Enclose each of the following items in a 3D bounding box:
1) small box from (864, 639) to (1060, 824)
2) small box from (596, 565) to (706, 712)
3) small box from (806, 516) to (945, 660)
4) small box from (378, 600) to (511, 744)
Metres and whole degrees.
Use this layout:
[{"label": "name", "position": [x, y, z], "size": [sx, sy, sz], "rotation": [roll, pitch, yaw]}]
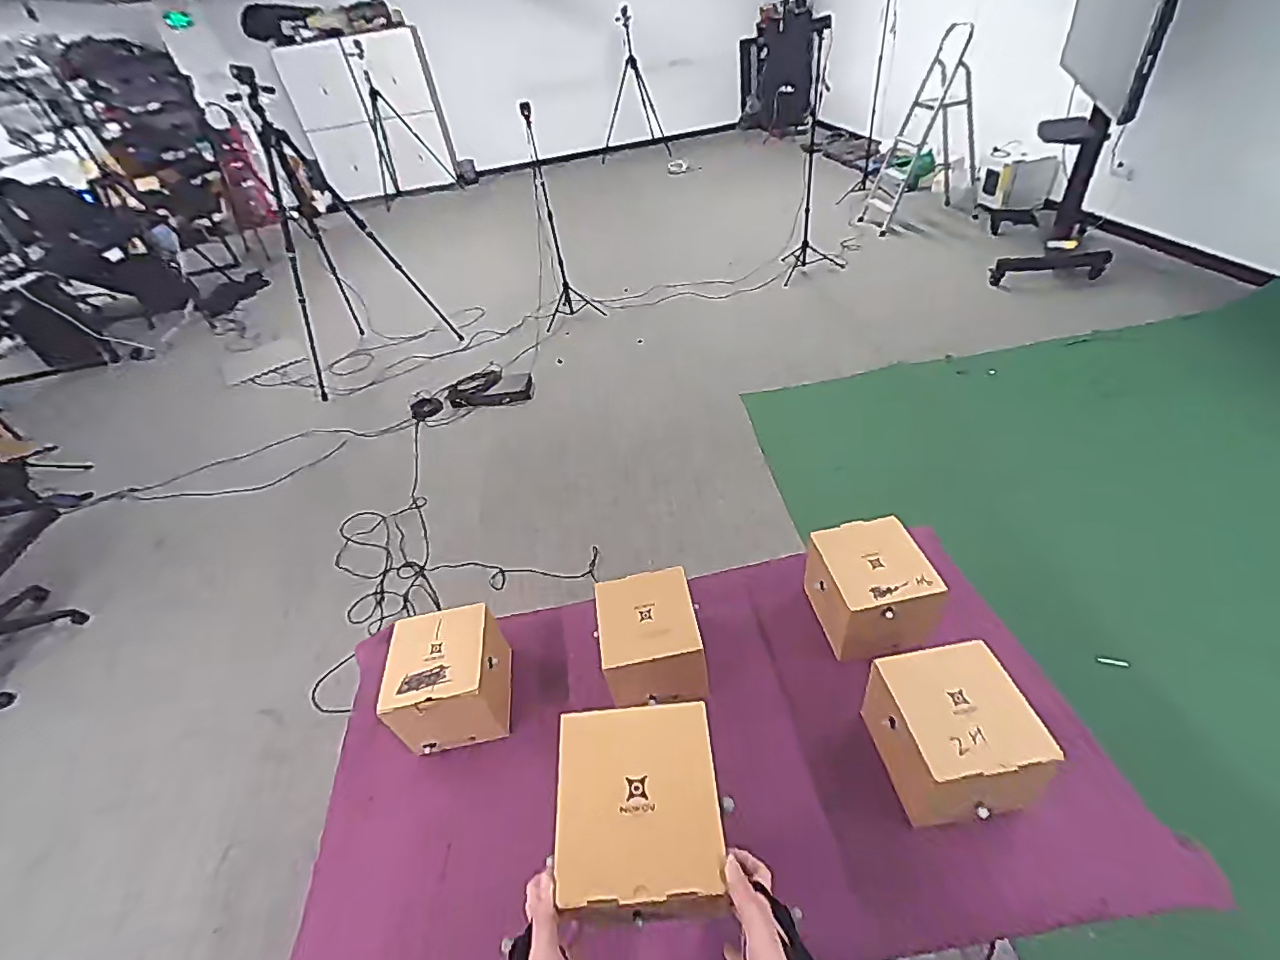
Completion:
[{"label": "small box", "position": [0.442, 0.362, 0.783], "size": [0.168, 0.176, 0.179], "rotation": [-11, 40, 1]}, {"label": "small box", "position": [0.019, 0.283, 0.968], "size": [0.168, 0.176, 0.179], "rotation": [-11, 42, 0]}, {"label": "small box", "position": [0.411, 0.196, 0.983], "size": [0.168, 0.176, 0.179], "rotation": [-12, 41, -1]}, {"label": "small box", "position": [-0.334, 0.347, 0.963], "size": [0.168, 0.176, 0.179], "rotation": [-11, 40, -2]}]
